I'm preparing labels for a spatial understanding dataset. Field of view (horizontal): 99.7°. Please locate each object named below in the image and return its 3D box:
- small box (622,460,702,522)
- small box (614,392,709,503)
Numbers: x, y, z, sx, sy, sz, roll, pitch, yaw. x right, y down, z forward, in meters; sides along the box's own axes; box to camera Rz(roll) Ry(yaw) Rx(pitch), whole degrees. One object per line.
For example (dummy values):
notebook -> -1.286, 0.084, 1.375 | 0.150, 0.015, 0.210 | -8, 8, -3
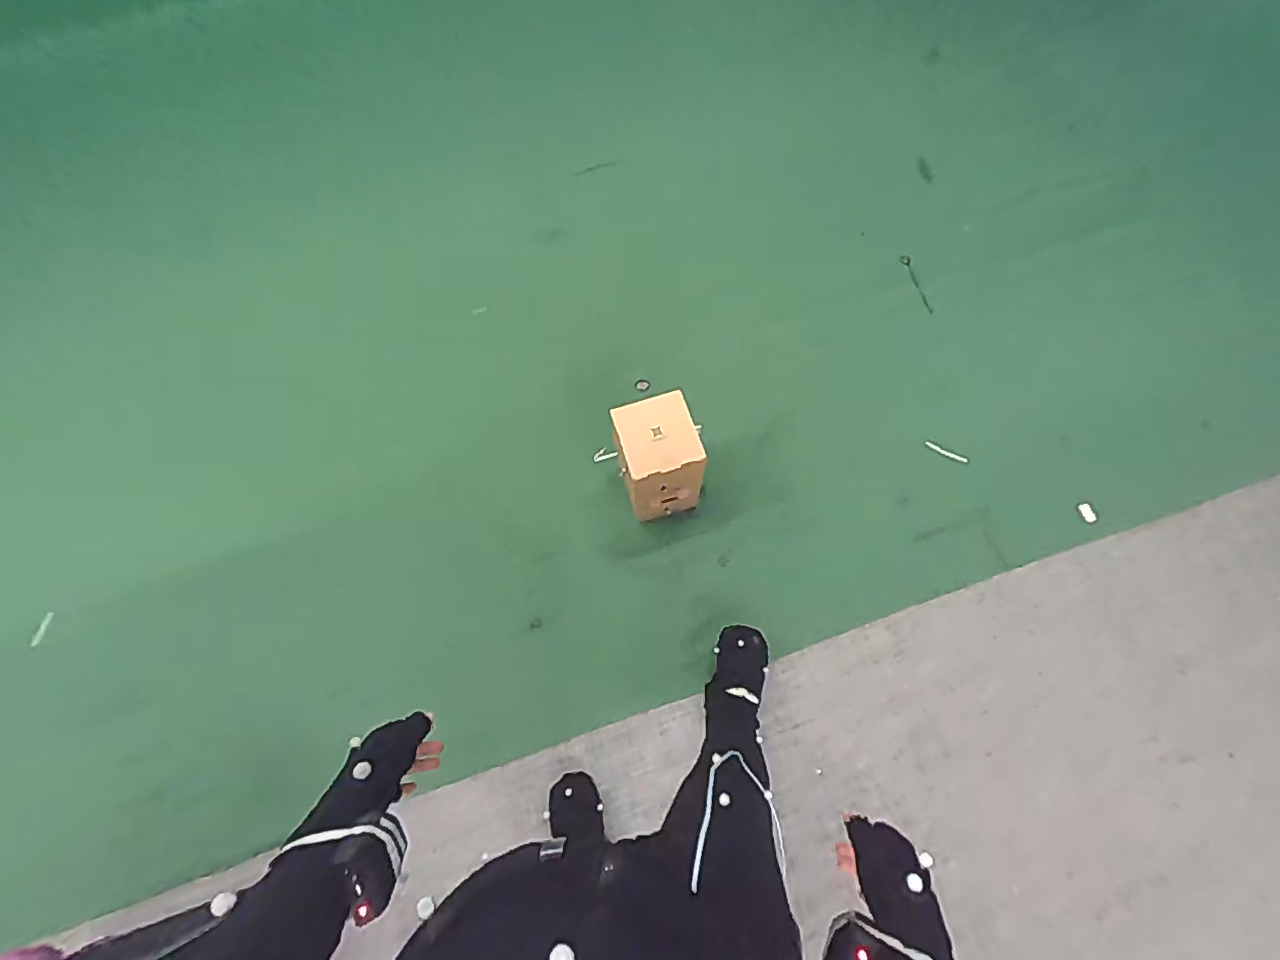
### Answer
small box -> 0.051, -0.013, 1.390 | 0.168, 0.176, 0.179 | -16, 71, -4
small box -> 0.045, -0.069, 1.236 | 0.168, 0.176, 0.179 | -18, 71, -5
